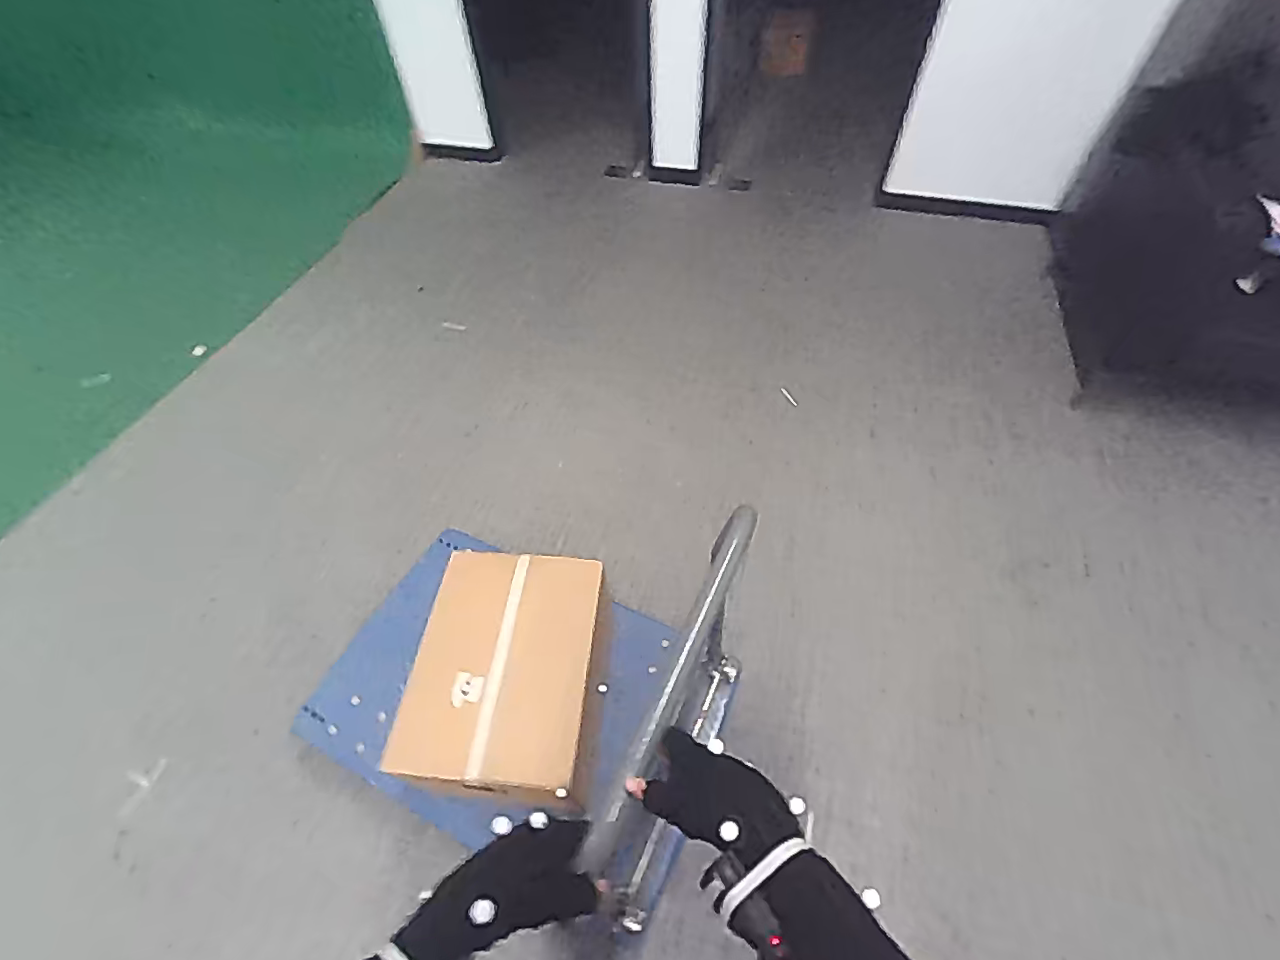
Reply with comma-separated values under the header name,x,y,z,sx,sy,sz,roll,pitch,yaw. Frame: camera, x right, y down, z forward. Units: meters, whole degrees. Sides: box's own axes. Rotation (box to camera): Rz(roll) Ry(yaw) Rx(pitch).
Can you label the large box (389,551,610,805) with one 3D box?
name,x,y,z,sx,sy,sz,roll,pitch,yaw
large box,-0.238,0.399,1.095,0.320,0.320,0.408,4,54,5
